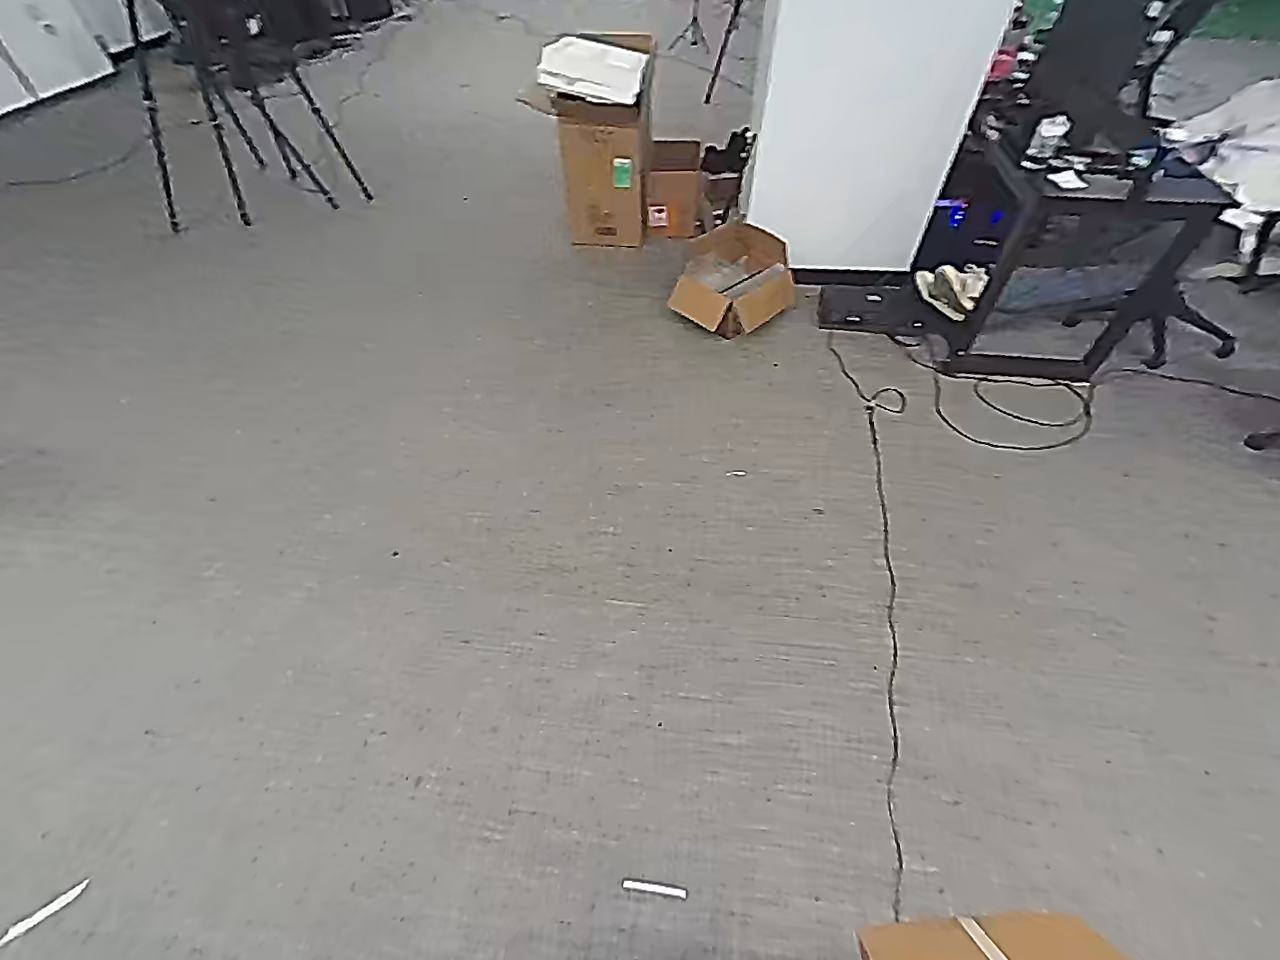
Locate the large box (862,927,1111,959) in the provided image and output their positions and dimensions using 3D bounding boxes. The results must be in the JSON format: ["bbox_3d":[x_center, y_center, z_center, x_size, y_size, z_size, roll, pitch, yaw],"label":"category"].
[{"bbox_3d":[0.475,0.767,0.563,0.320,0.408,0.320,-8,78,3],"label":"large box"}]
